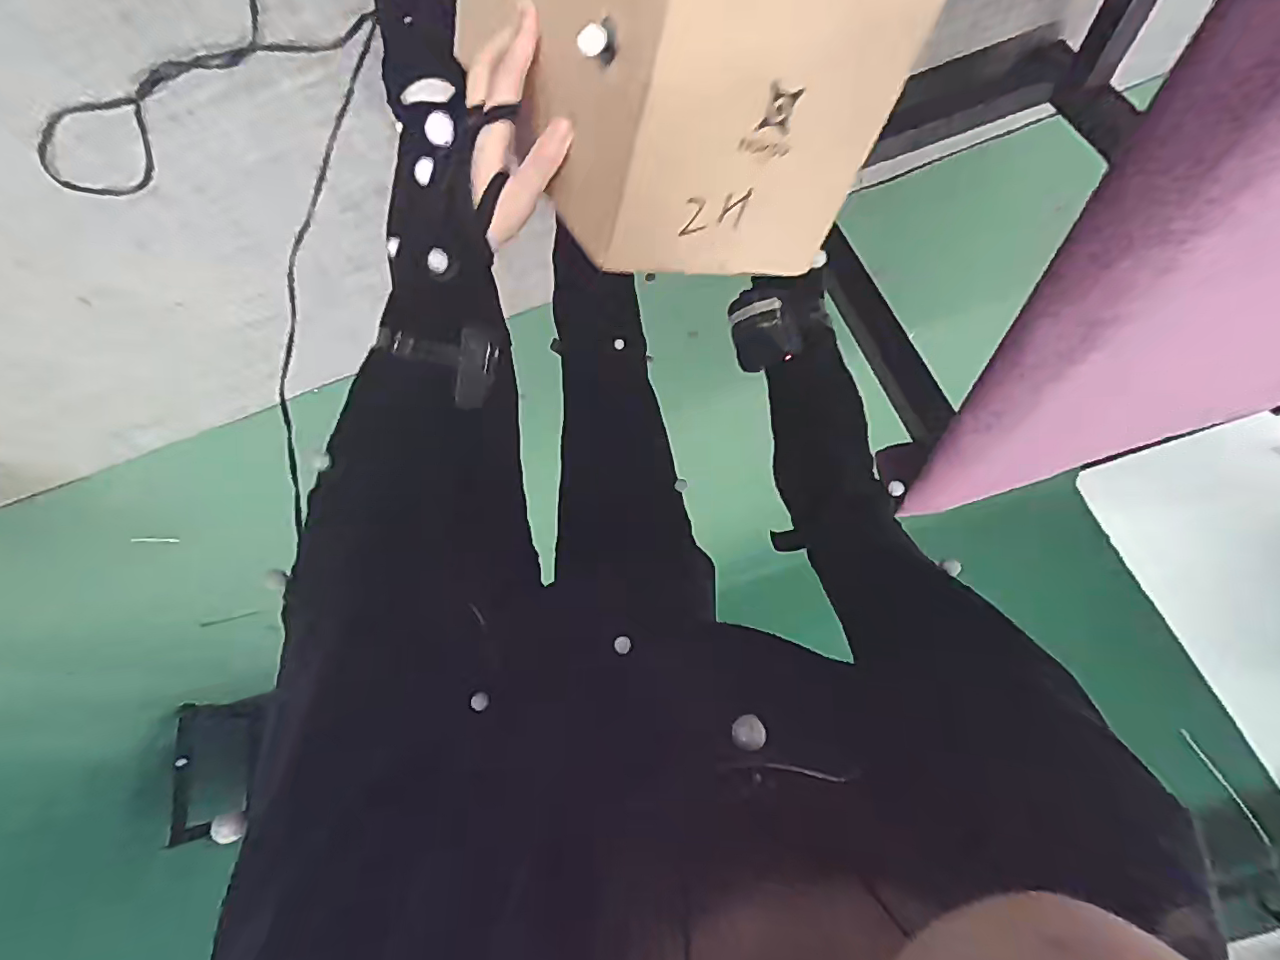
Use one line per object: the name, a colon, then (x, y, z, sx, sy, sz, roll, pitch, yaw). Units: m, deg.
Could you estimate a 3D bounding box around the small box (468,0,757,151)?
small box: (-0.024, -0.392, 0.411, 0.168, 0.176, 0.179, -8, 142, -32)
